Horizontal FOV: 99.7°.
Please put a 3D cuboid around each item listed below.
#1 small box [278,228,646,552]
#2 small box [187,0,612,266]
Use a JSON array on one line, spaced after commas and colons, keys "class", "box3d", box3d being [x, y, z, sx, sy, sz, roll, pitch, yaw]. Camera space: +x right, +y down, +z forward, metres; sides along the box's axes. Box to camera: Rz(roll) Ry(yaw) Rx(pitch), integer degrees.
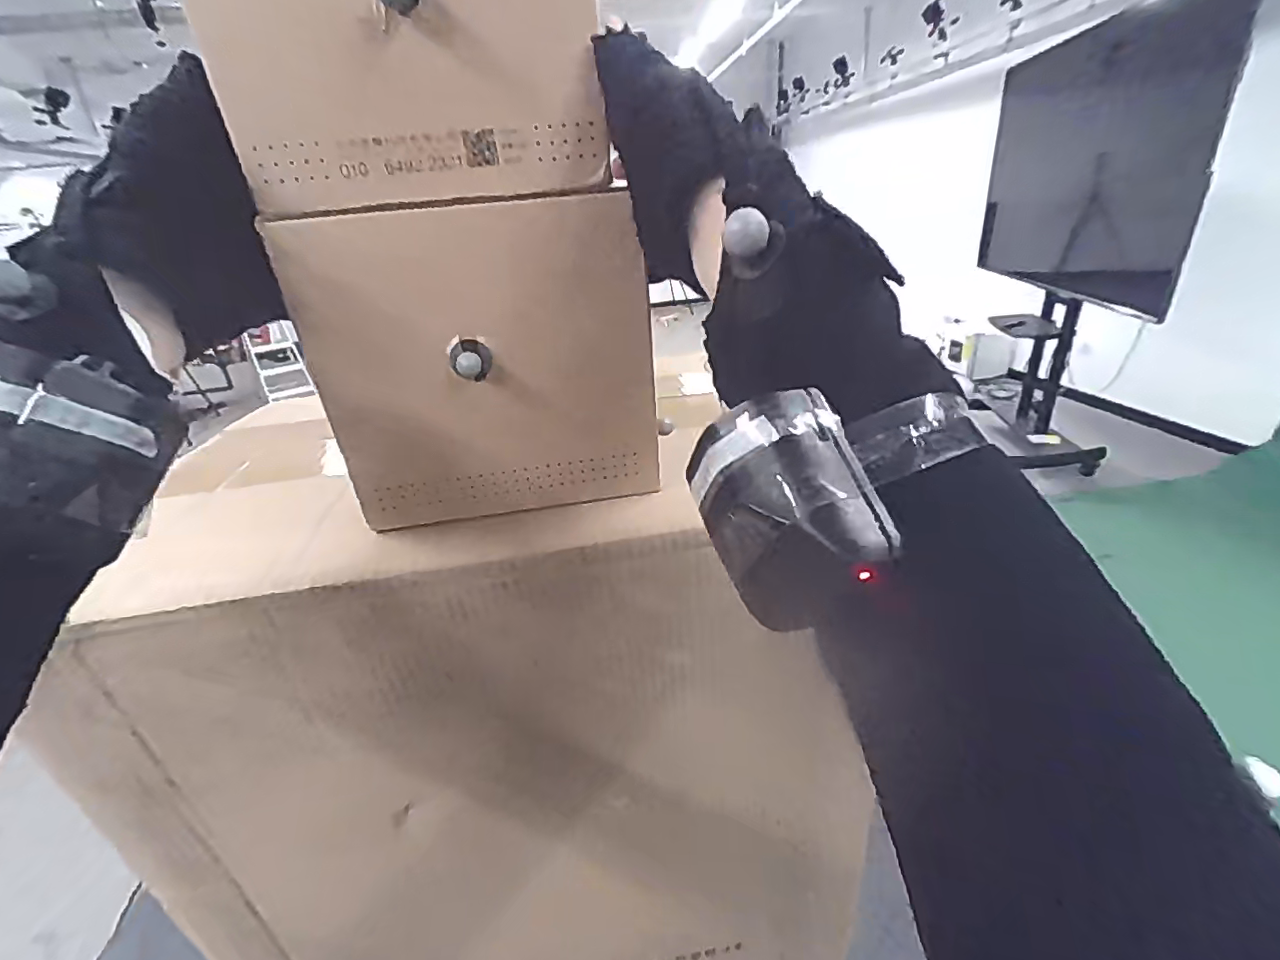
[{"class": "small box", "box3d": [-0.092, -0.071, 0.371, 0.179, 0.176, 0.168, -8, 27, -5]}, {"class": "small box", "box3d": [-0.116, -0.218, 0.310, 0.168, 0.176, 0.179, -11, 28, -8]}]
